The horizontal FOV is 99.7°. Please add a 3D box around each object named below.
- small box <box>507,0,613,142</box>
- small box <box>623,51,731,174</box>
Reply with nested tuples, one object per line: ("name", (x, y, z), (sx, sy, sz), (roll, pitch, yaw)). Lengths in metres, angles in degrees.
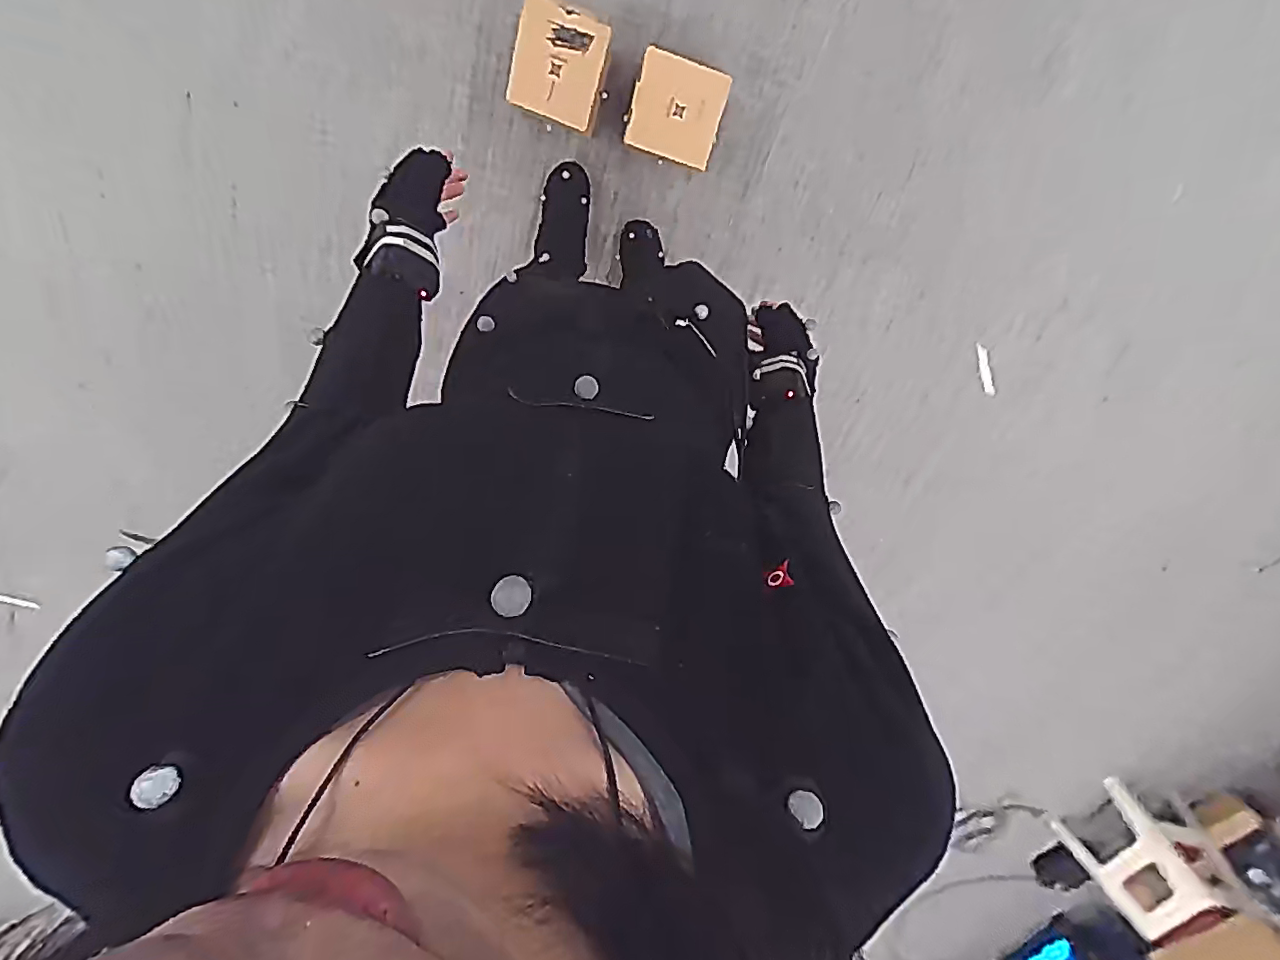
("small box", (-0.157, -0.820, 1.102), (0.168, 0.176, 0.179), (18, 117, -9))
("small box", (0.071, -0.759, 1.138), (0.179, 0.176, 0.168), (15, 118, -9))
